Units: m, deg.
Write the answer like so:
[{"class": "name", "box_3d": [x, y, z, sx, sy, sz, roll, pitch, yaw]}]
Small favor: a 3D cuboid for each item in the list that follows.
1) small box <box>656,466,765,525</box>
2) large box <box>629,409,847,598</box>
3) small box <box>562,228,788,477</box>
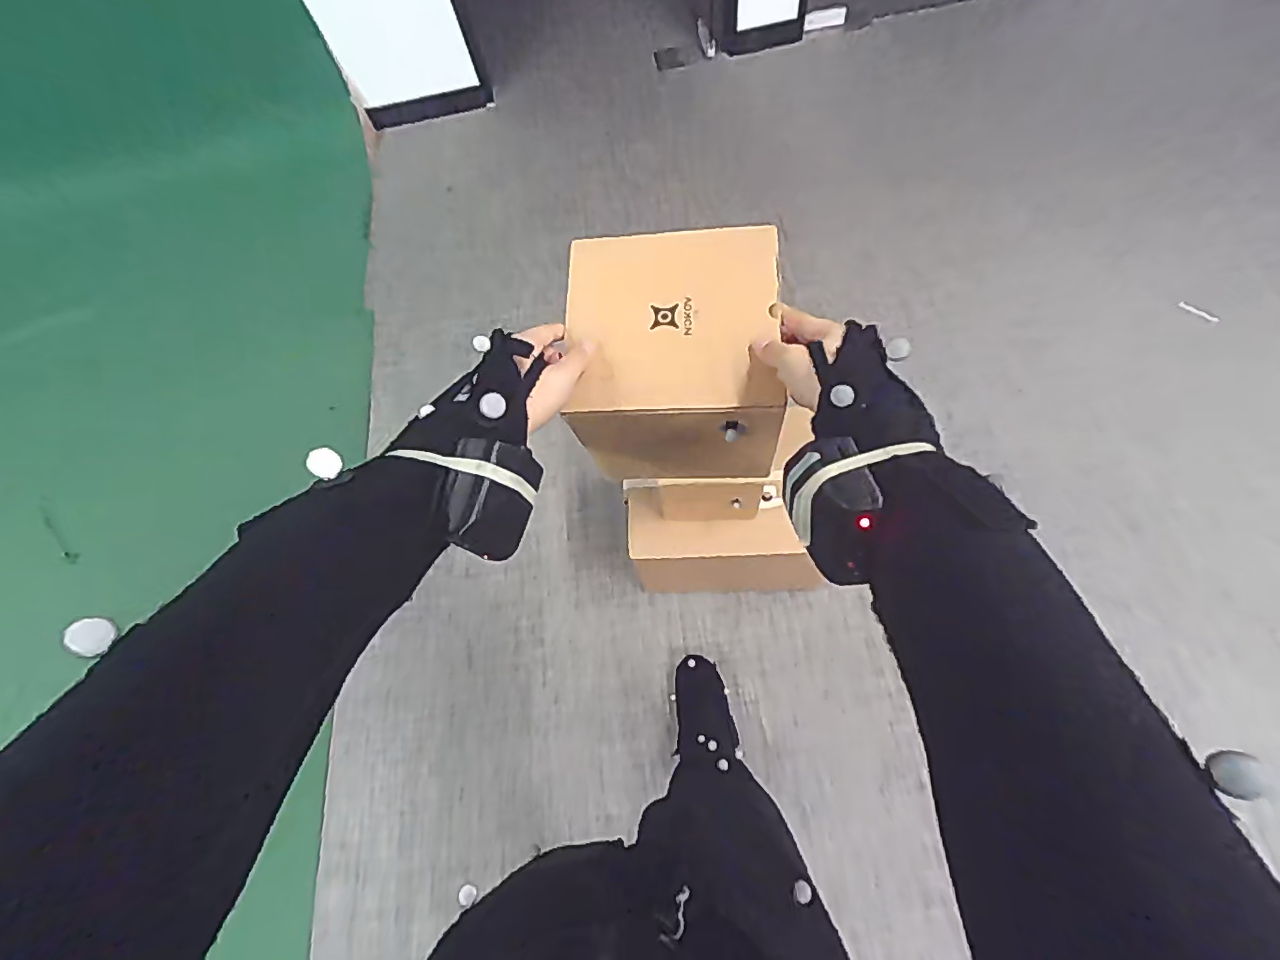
[{"class": "small box", "box_3d": [0.122, -0.025, 0.972, 0.179, 0.176, 0.168, -3, 64, 6]}, {"class": "large box", "box_3d": [0.188, 0.067, 1.192, 0.408, 0.320, 0.320, -3, 66, 4]}, {"class": "small box", "box_3d": [0.038, -0.105, 0.510, 0.179, 0.176, 0.168, -1, 71, 7]}]
